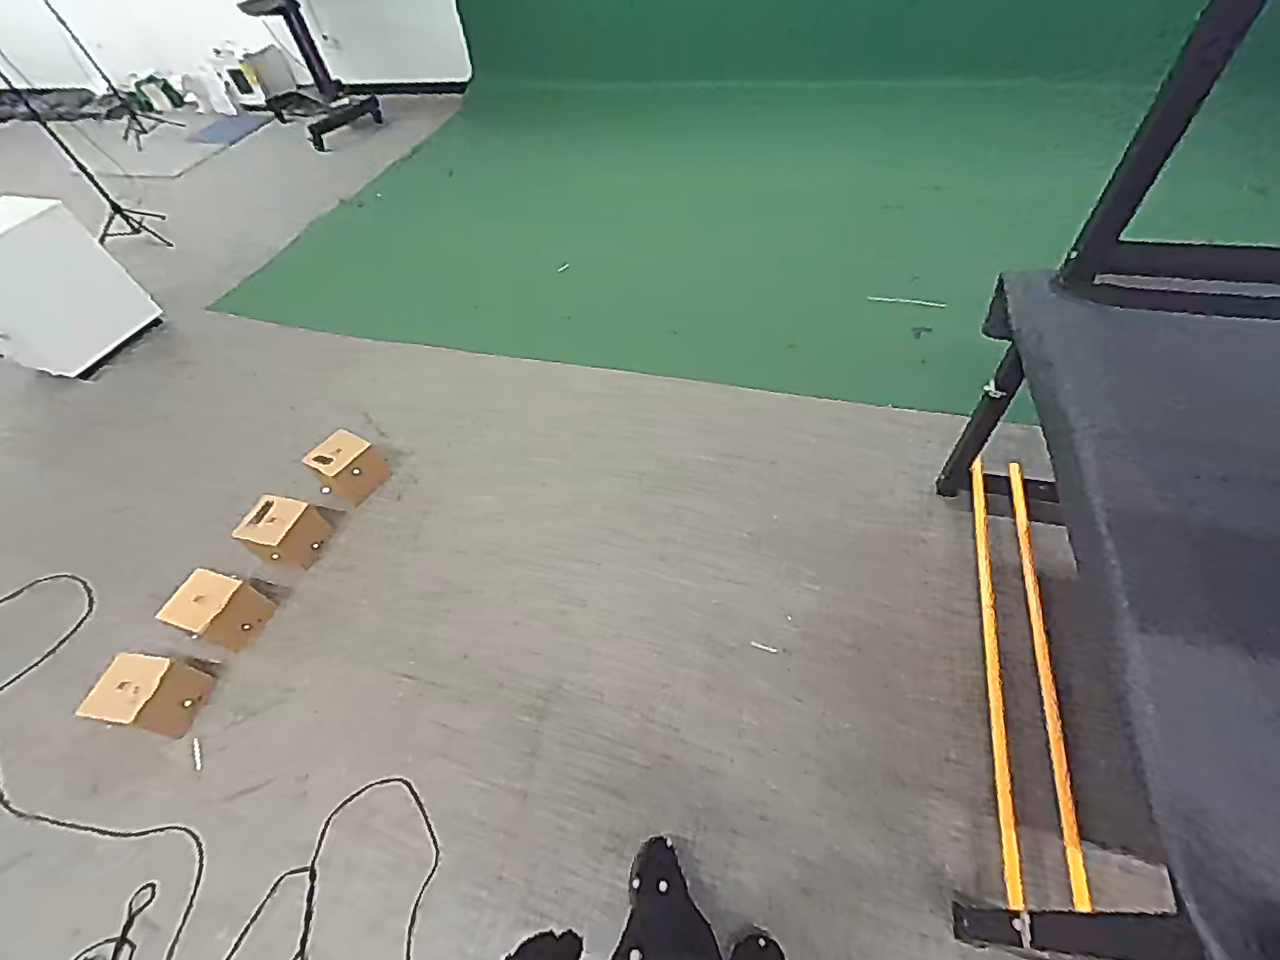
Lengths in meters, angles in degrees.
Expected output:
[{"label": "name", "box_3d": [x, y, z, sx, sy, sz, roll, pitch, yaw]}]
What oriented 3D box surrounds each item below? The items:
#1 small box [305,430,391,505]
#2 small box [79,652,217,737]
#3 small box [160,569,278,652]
[{"label": "small box", "box_3d": [-1.026, -0.039, 1.915, 0.168, 0.176, 0.179, 23, 57, 22]}, {"label": "small box", "box_3d": [-1.318, 0.582, 1.463, 0.179, 0.176, 0.168, 4, 54, 10]}, {"label": "small box", "box_3d": [-1.242, 0.390, 1.607, 0.179, 0.176, 0.168, 11, 54, 14]}]
